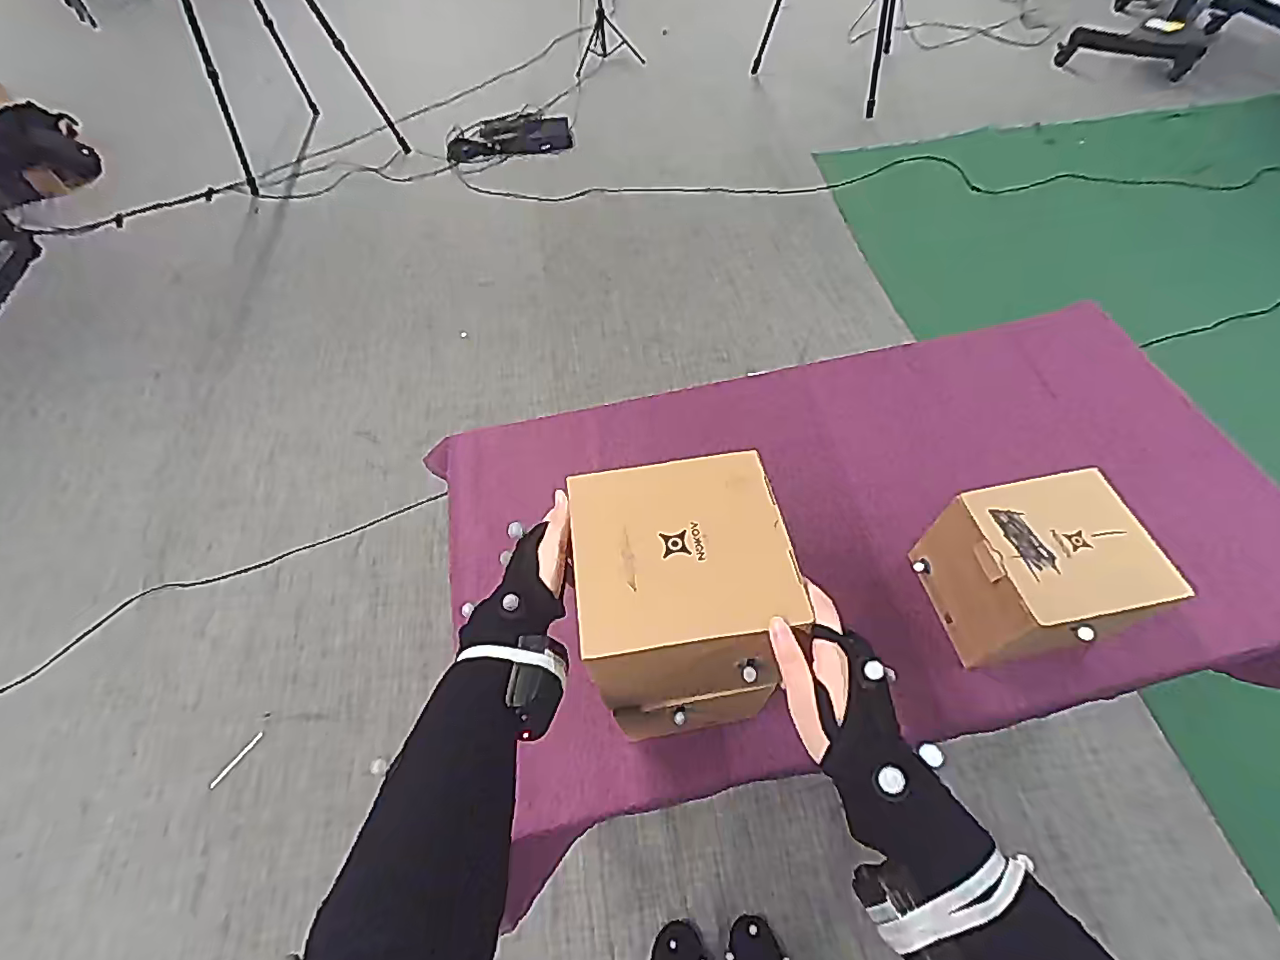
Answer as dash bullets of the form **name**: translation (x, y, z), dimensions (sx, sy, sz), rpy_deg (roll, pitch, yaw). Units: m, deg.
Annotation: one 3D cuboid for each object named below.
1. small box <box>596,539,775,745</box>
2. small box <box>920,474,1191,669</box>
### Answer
- **small box**: translation (0.045, 0.196, 0.641), dimensions (0.168, 0.176, 0.179), rpy_deg (-10, 56, -2)
- **small box**: translation (0.474, 0.118, 0.660), dimensions (0.179, 0.176, 0.168), rpy_deg (-10, 57, -3)
